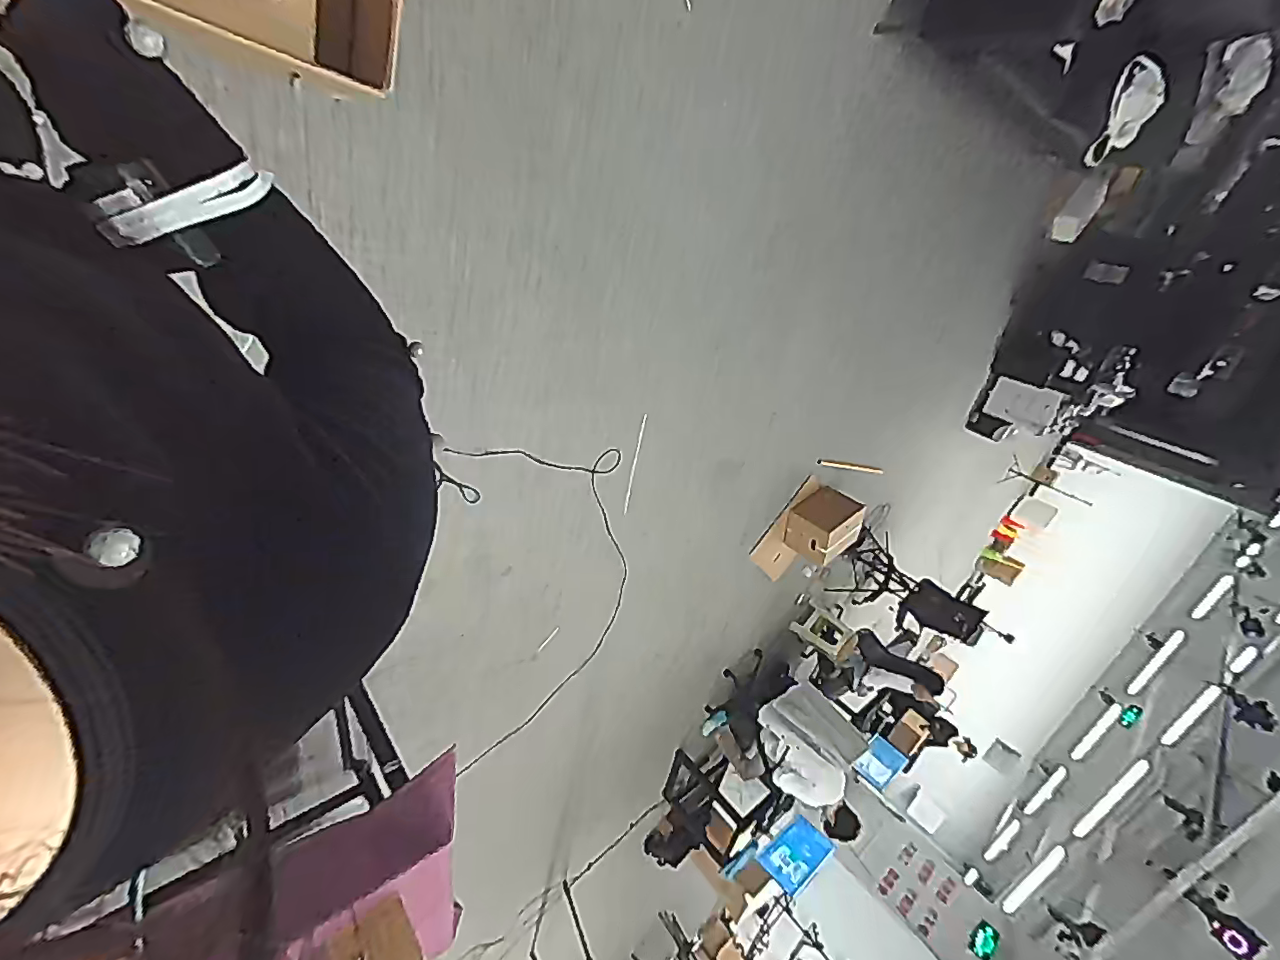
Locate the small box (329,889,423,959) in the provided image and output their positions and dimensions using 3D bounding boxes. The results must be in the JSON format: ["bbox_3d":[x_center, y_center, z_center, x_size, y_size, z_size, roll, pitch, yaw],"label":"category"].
[{"bbox_3d":[-0.638,1.150,1.314,0.168,0.176,0.179,-17,130,-38],"label":"small box"}]
